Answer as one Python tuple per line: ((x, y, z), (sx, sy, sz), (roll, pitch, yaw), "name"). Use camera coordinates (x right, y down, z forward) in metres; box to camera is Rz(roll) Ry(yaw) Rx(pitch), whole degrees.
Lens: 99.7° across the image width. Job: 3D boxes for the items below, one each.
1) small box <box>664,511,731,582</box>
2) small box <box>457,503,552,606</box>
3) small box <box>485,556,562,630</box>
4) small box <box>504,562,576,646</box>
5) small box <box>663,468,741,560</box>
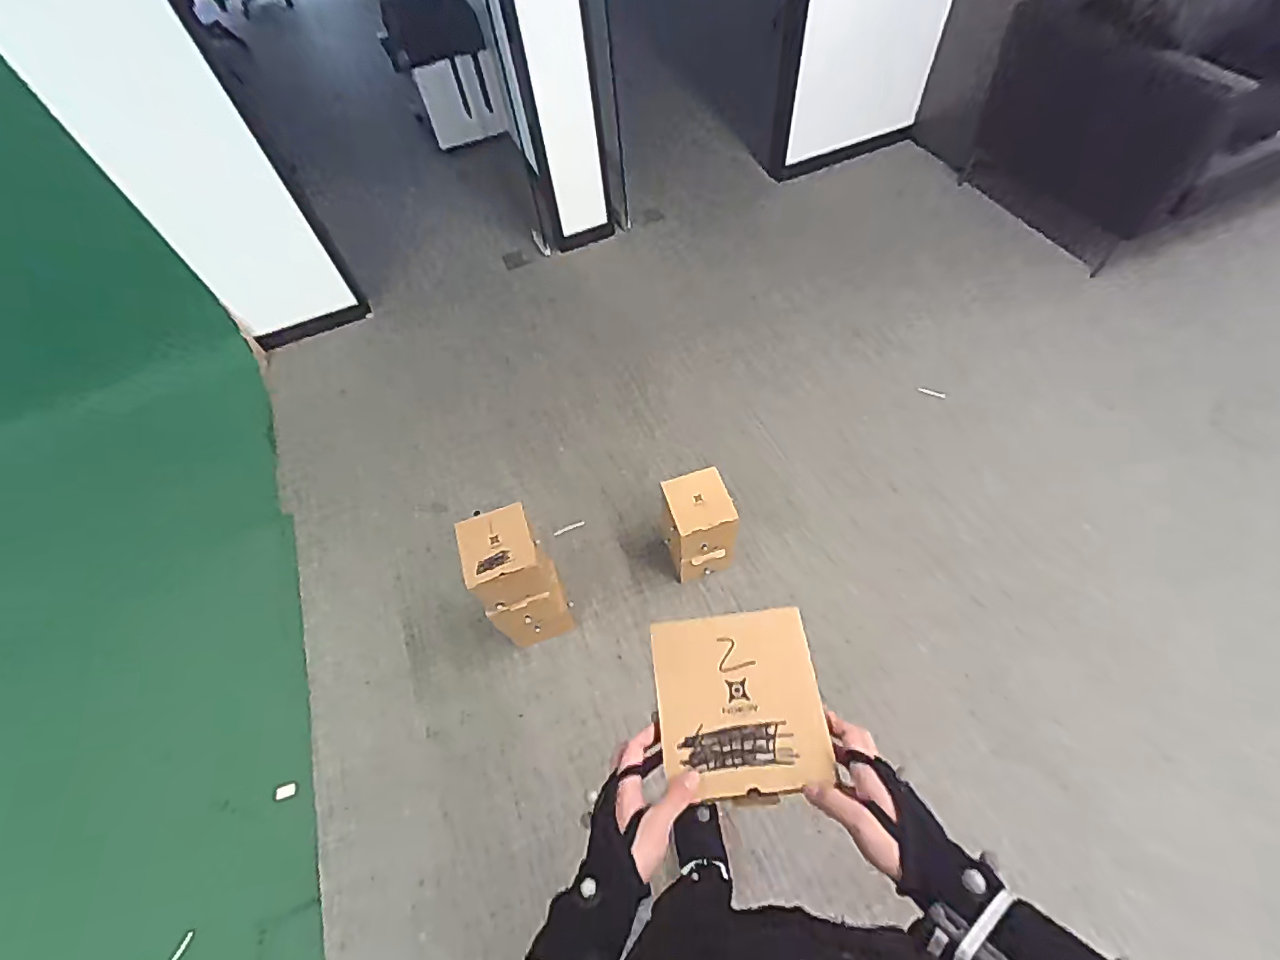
((0.173, 0.189, 1.649), (0.168, 0.176, 0.179), (-13, 59, -1), "small box")
((-0.322, 0.189, 1.306), (0.168, 0.176, 0.179), (-19, 58, -7), "small box")
((-0.316, 0.285, 1.440), (0.168, 0.176, 0.179), (-18, 60, -6), "small box")
((-0.301, 0.367, 1.580), (0.179, 0.176, 0.168), (-17, 59, -6), "small box")
((0.167, 0.099, 1.515), (0.168, 0.176, 0.179), (-16, 59, -6), "small box")
